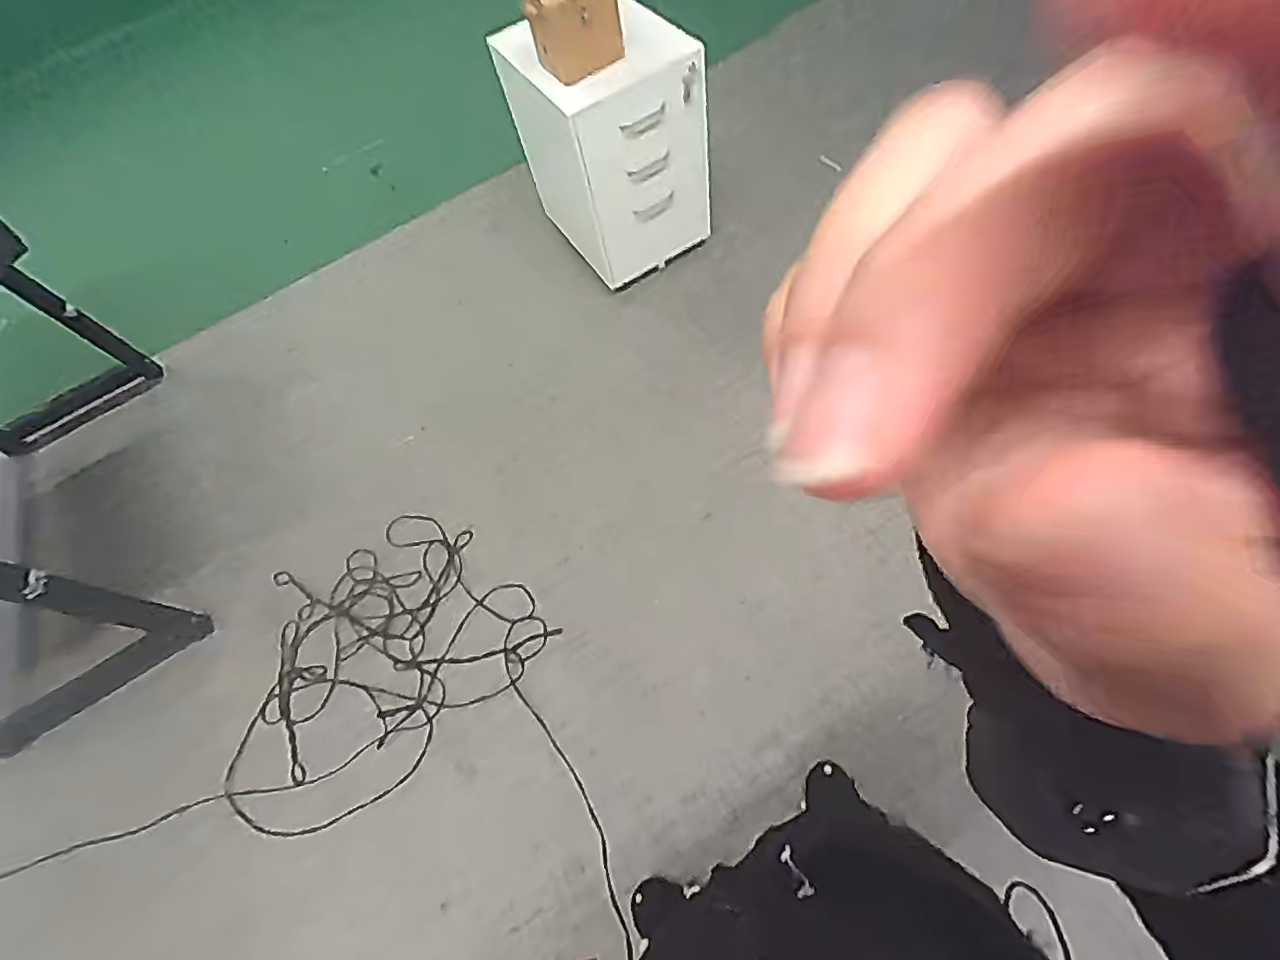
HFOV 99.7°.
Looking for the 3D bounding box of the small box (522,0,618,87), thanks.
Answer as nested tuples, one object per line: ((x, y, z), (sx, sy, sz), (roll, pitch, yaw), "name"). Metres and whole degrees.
((-0.167, -1.109, 1.315), (0.179, 0.176, 0.168), (-33, 63, -8), "small box")
